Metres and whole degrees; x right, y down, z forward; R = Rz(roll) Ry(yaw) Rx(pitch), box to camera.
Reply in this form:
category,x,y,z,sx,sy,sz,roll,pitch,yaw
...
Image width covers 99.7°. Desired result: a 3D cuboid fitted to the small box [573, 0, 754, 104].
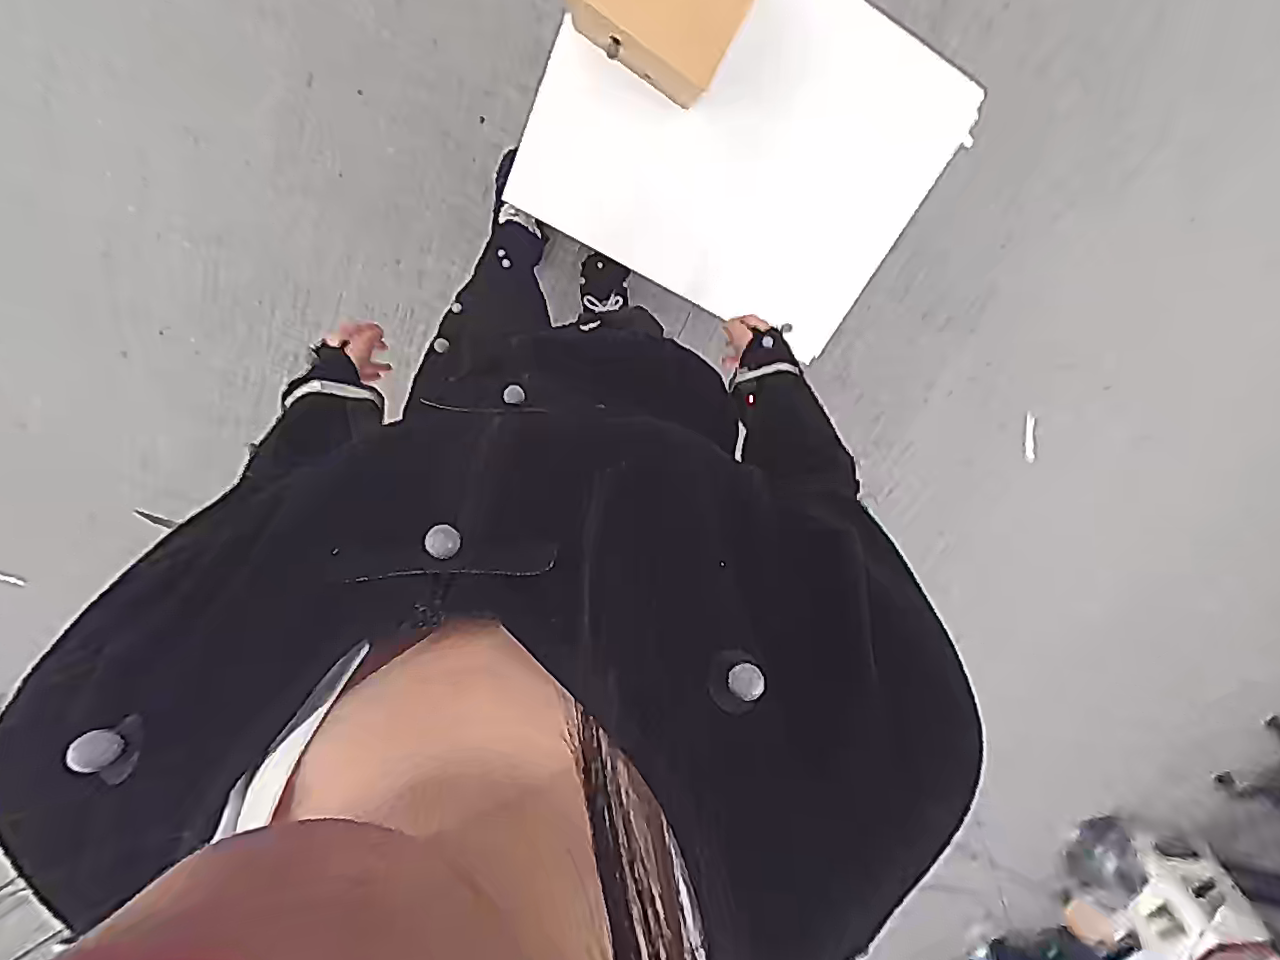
category,x,y,z,sx,sy,sz,roll,pitch,yaw
small box,0.039,-0.533,0.563,0.168,0.176,0.179,27,113,-16
